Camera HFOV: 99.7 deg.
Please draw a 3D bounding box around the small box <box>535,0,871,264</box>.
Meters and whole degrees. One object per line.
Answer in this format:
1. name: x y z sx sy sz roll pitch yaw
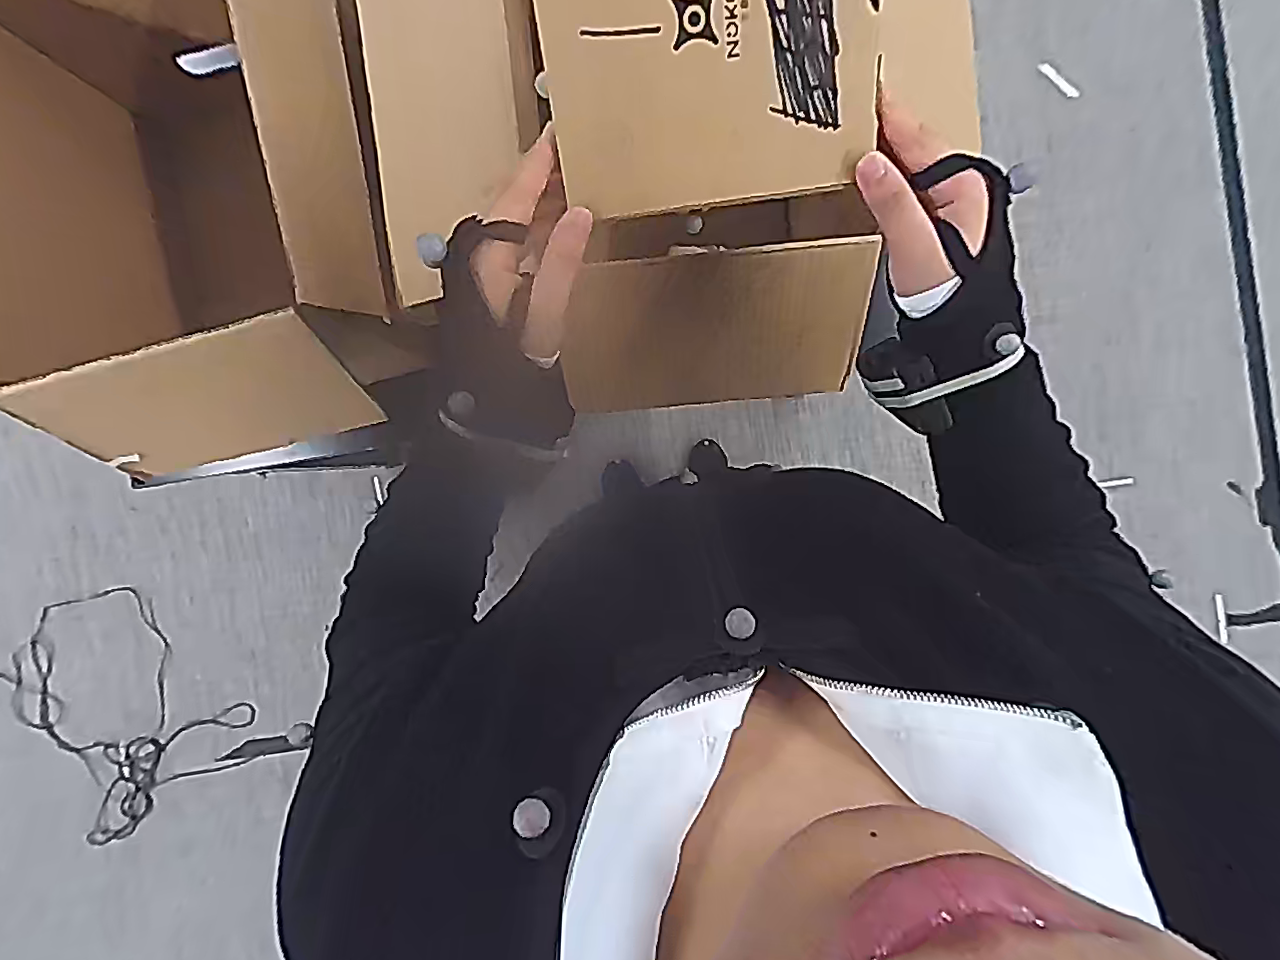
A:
1. small box: 0.035 -0.249 0.367 0.179 0.176 0.168 -7 115 2
